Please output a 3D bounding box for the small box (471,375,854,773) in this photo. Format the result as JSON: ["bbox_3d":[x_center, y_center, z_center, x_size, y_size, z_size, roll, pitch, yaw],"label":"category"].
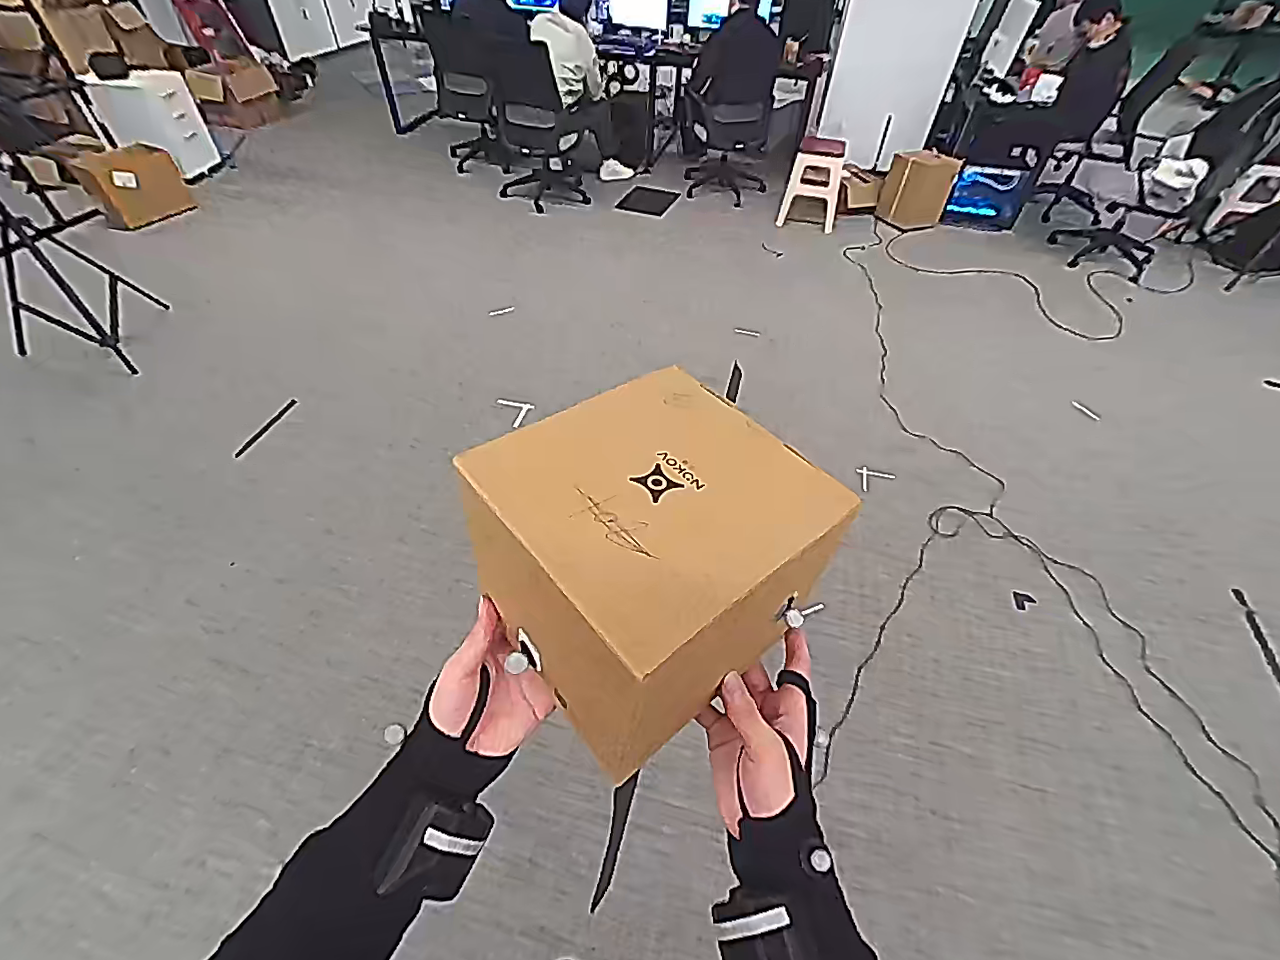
[{"bbox_3d":[0.007,0.061,0.379,0.179,0.176,0.168,-30,56,-30],"label":"small box"}]
